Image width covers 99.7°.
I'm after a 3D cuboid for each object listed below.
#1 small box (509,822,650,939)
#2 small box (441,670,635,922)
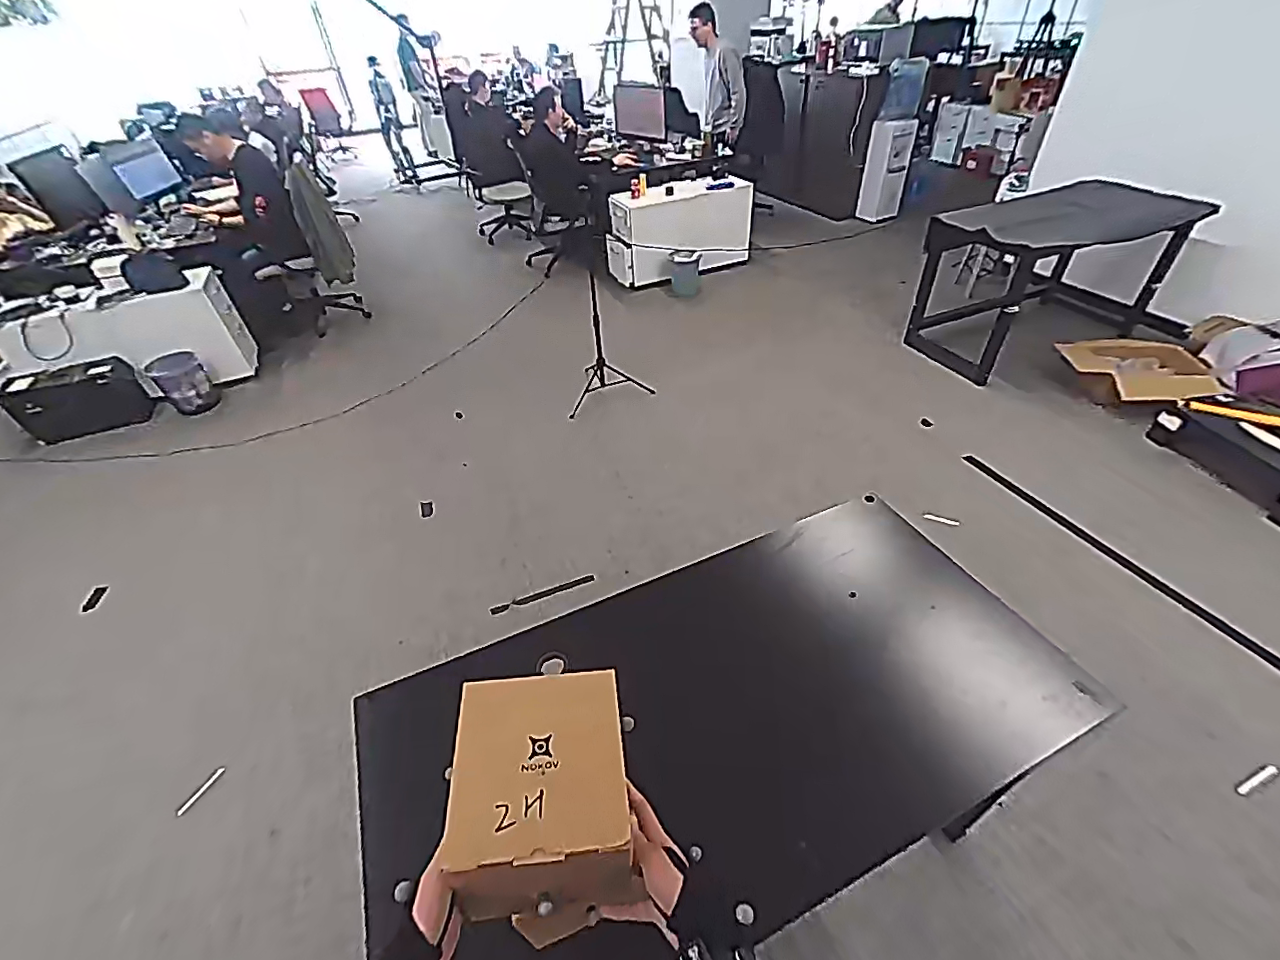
[{"bbox_3d":[-0.091,0.483,0.733,0.168,0.176,0.179,-16,43,-13],"label":"small box"},{"bbox_3d":[-0.098,0.328,0.571,0.168,0.176,0.179,-3,39,-7],"label":"small box"}]
